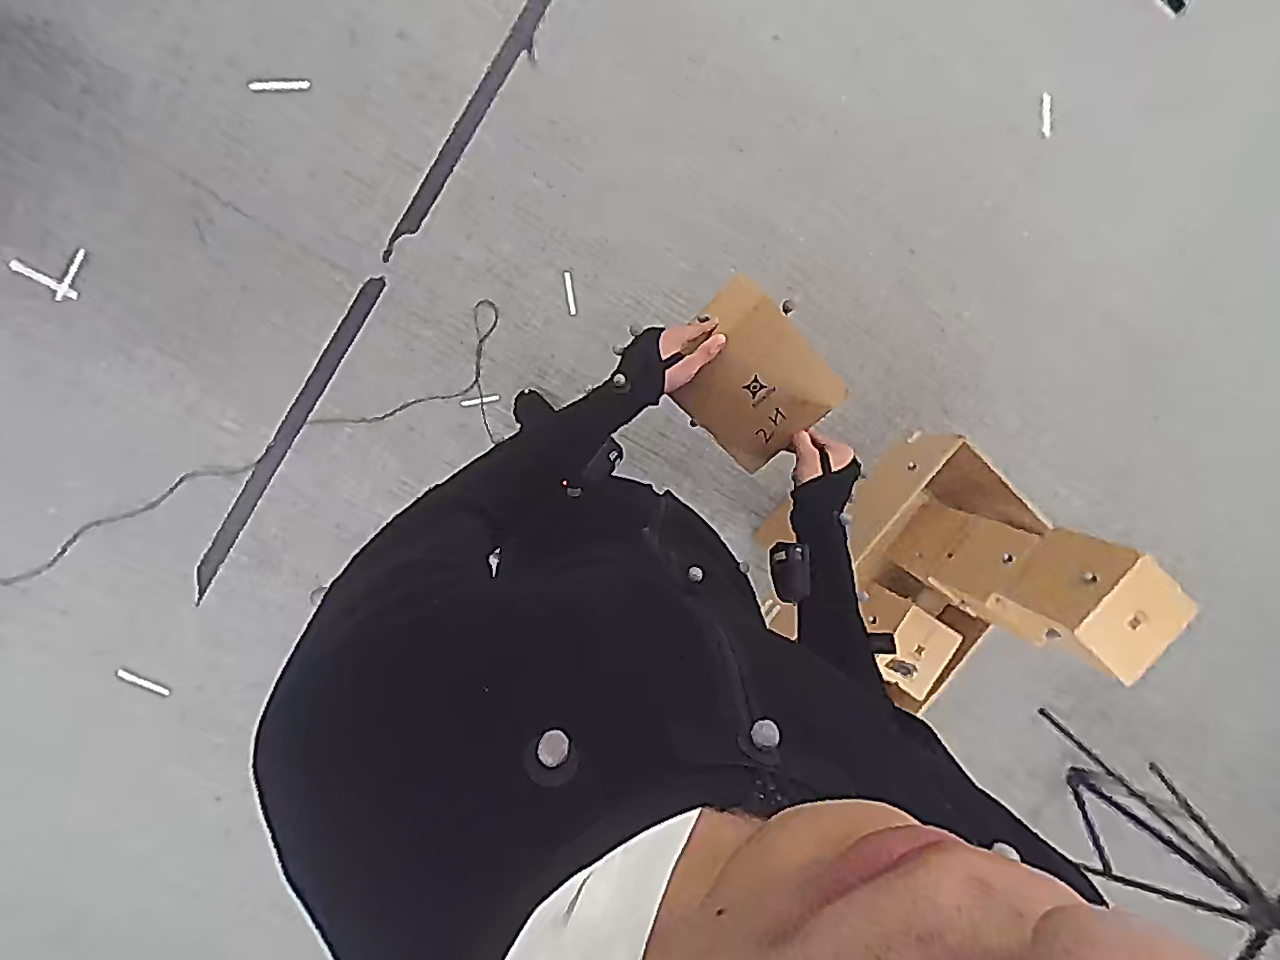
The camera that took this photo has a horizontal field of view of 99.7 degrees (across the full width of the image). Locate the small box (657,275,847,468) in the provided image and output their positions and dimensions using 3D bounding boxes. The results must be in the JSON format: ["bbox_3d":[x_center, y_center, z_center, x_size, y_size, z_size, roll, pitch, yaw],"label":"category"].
[{"bbox_3d":[0.137,-0.155,0.732,0.179,0.176,0.168,40,111,-21],"label":"small box"}]

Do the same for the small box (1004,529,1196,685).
[{"bbox_3d":[0.794,0.215,0.959,0.168,0.176,0.179,40,92,-13],"label":"small box"}]

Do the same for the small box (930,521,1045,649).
[{"bbox_3d":[0.754,0.207,1.118,0.179,0.176,0.168,37,93,-14],"label":"small box"}]
